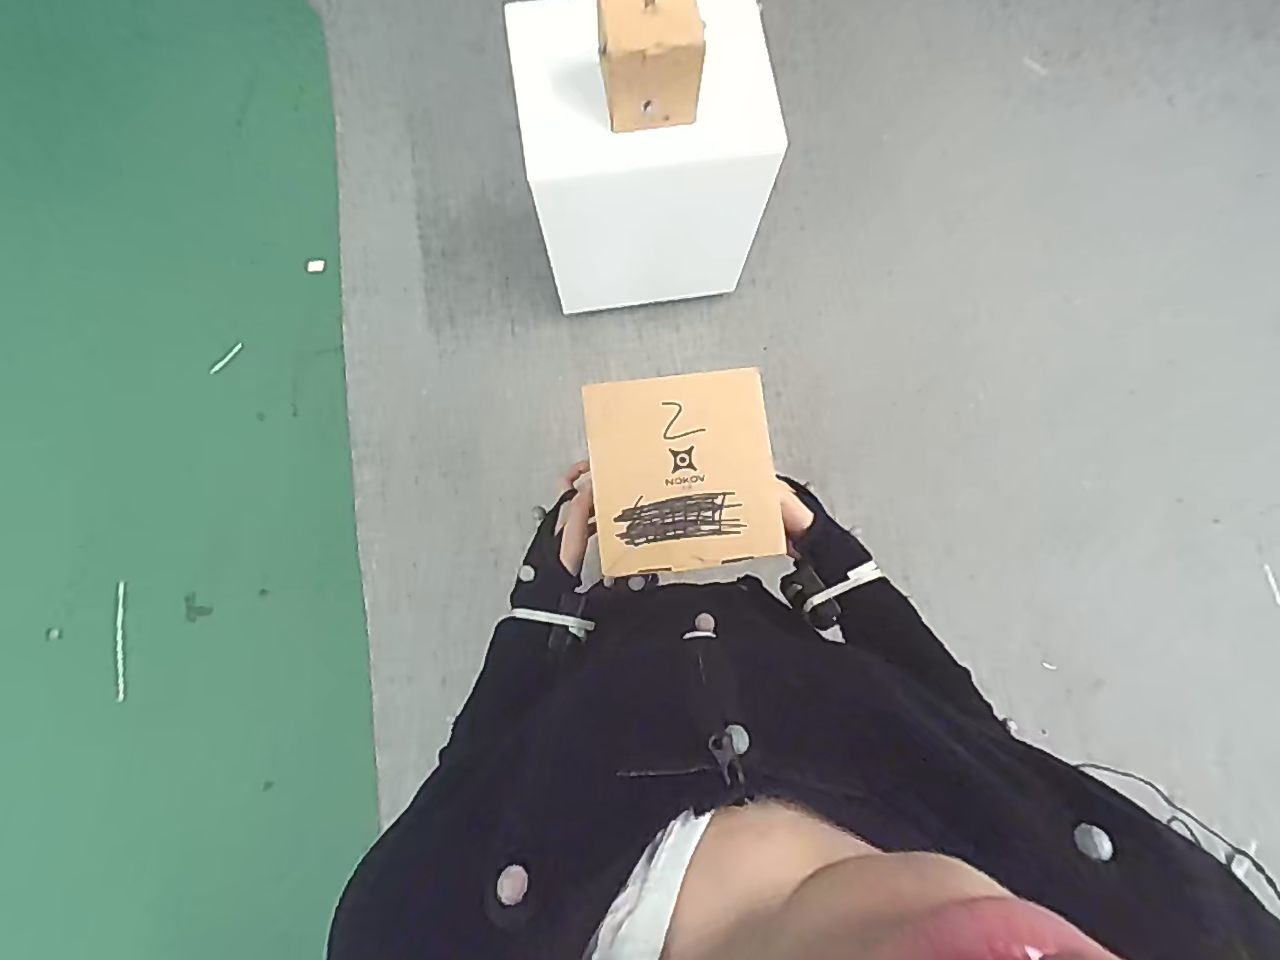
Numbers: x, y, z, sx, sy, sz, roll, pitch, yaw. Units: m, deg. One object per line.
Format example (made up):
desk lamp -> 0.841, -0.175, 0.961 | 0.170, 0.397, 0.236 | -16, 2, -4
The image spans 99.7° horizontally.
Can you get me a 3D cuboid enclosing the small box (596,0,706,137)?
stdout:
small box -> 0.013, -0.764, 0.974 | 0.168, 0.176, 0.179 | -9, 80, -2
